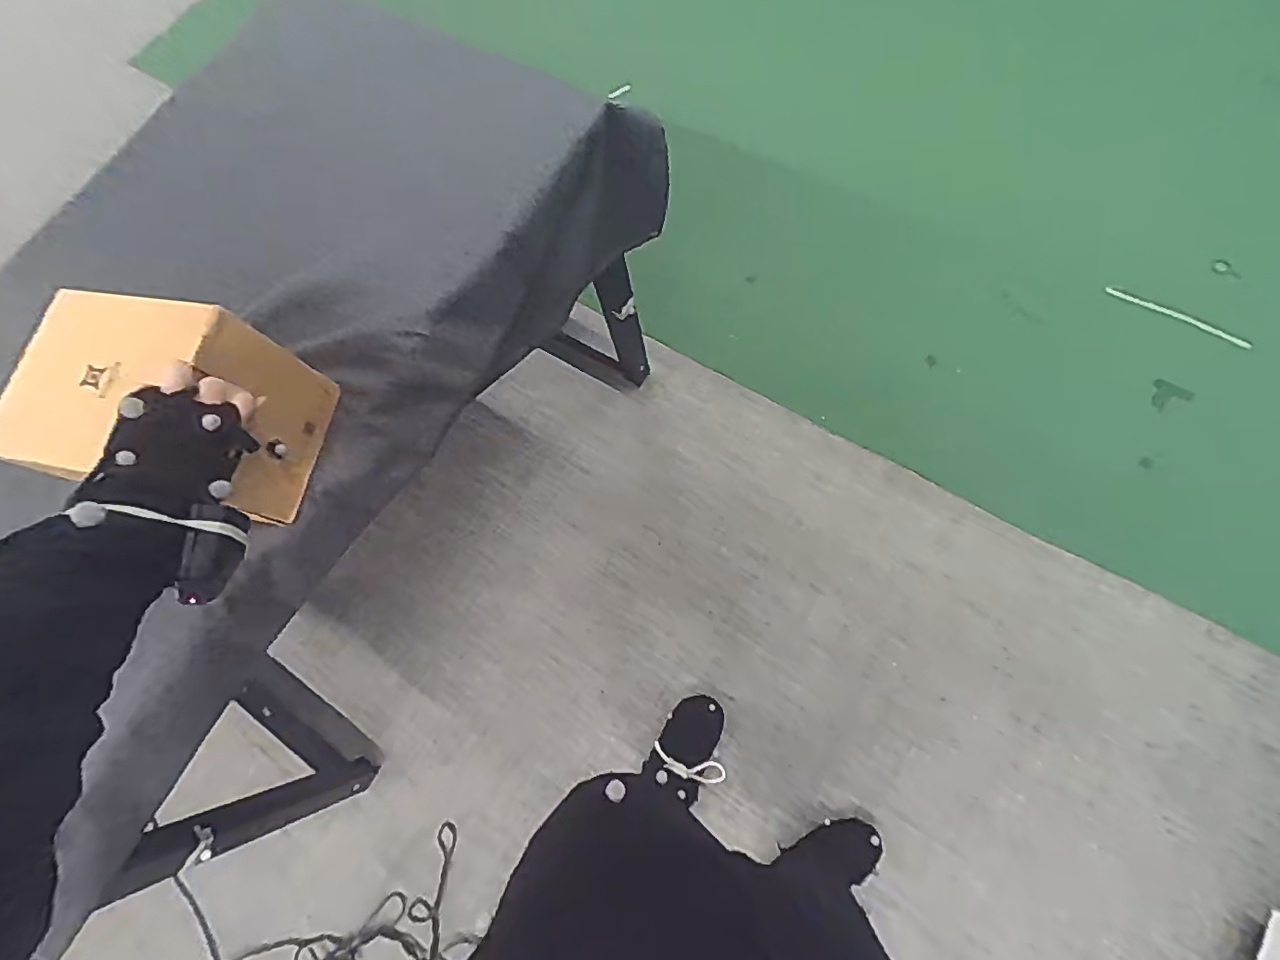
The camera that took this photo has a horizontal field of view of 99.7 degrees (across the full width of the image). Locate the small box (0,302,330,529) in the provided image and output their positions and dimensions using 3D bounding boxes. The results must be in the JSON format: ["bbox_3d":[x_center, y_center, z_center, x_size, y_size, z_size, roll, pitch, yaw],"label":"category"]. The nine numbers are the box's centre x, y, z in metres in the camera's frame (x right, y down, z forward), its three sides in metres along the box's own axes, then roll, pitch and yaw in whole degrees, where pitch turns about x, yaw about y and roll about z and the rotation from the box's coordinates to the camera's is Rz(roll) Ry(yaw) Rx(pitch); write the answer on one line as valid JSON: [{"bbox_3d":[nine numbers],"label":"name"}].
[{"bbox_3d":[-0.462,-0.054,0.541,0.179,0.176,0.168,8,74,9],"label":"small box"}]
